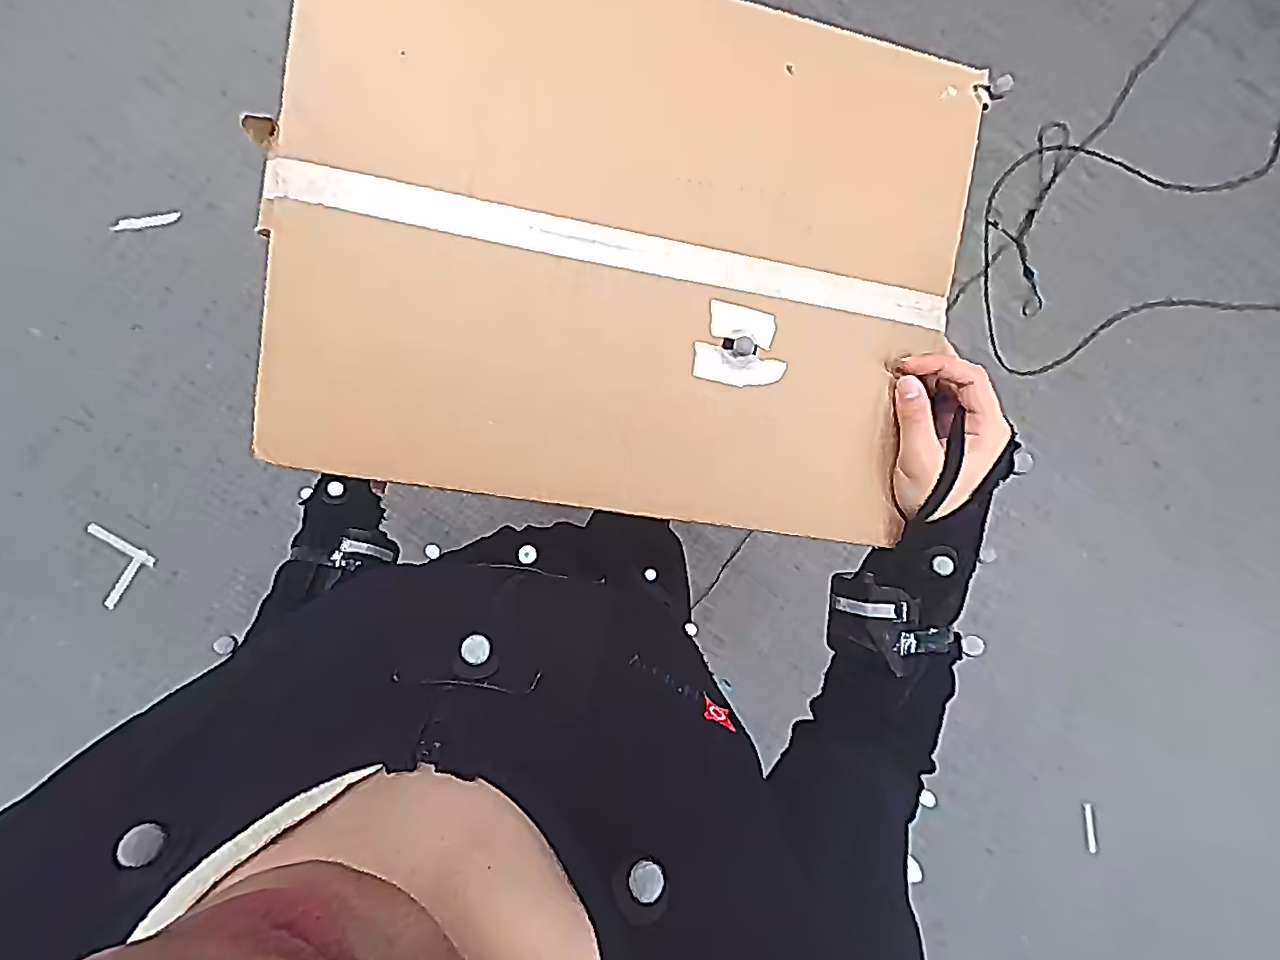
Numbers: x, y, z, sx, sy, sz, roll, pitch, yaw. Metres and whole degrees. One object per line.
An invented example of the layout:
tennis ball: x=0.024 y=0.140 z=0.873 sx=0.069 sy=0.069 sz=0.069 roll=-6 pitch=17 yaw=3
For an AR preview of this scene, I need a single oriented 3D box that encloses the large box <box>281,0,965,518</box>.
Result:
large box: x=-0.021 y=-0.159 z=0.480 sx=0.408 sy=0.320 sz=0.320 roll=7 pitch=95 yaw=-11
